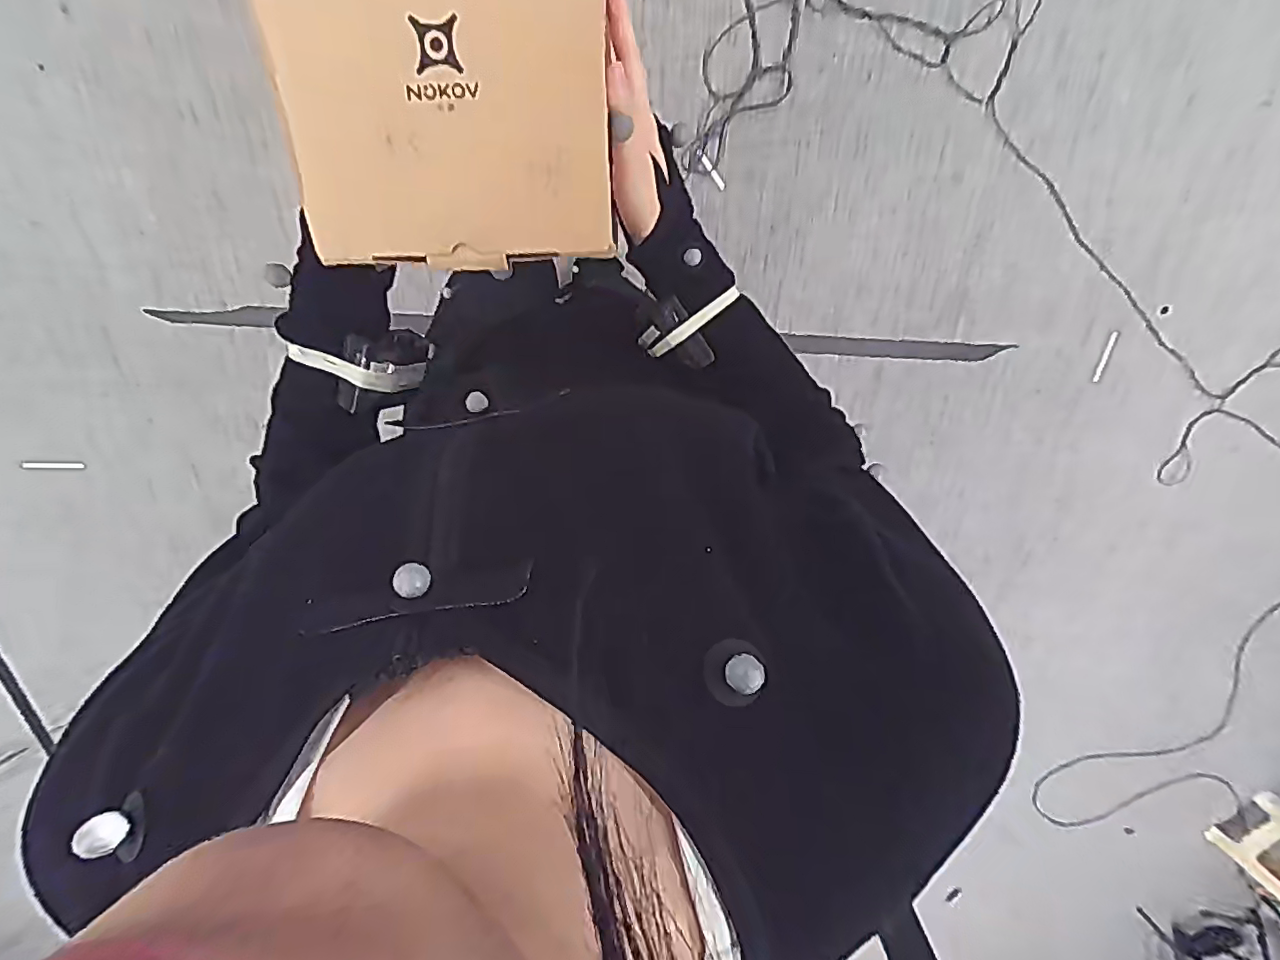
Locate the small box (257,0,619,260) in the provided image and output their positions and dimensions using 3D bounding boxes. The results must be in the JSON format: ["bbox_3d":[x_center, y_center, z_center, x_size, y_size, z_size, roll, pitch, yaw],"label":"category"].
[{"bbox_3d":[-0.099,-0.239,0.337,0.168,0.176,0.179,-2,115,-1],"label":"small box"}]
